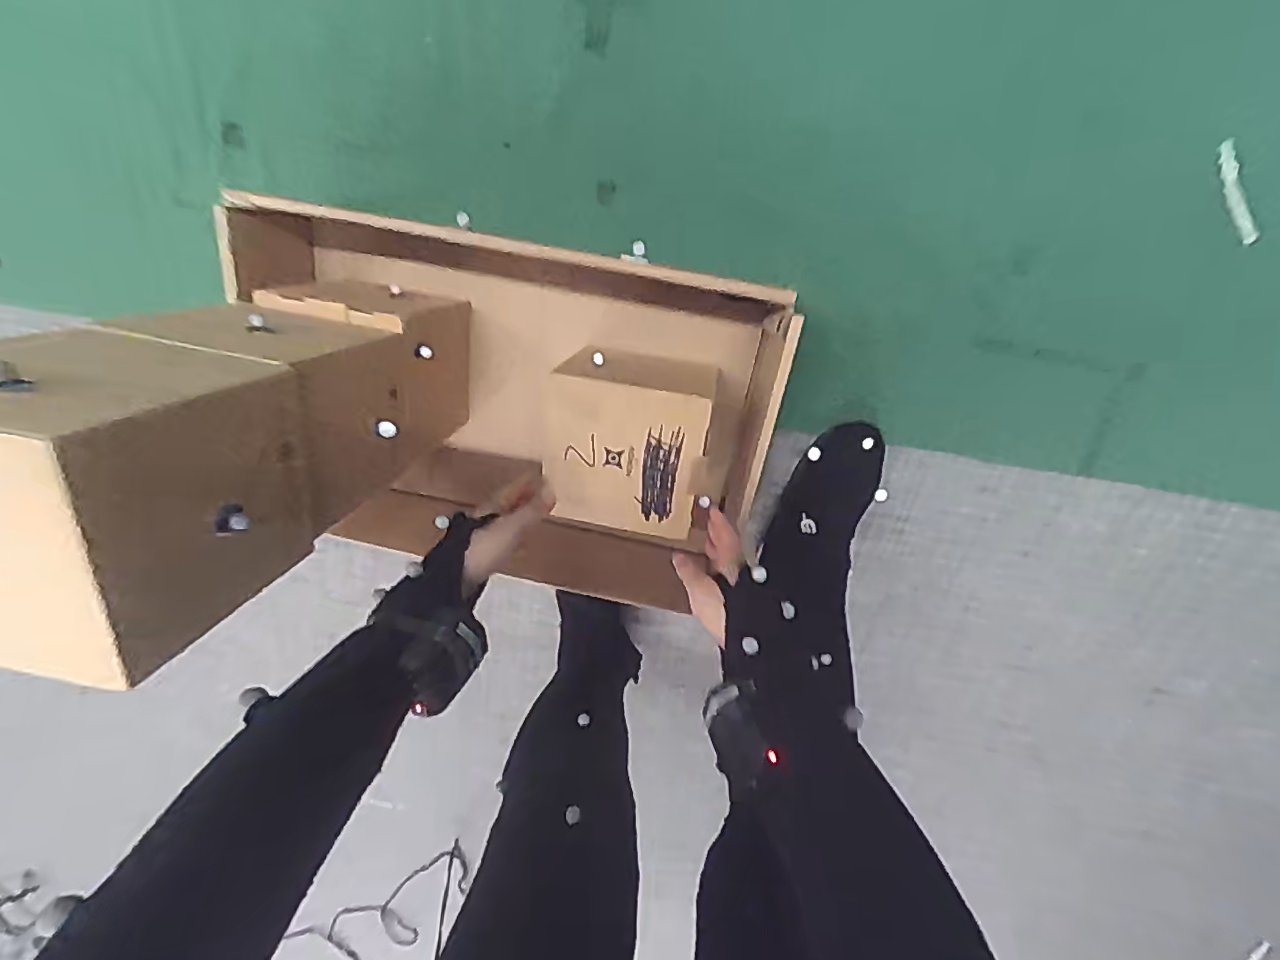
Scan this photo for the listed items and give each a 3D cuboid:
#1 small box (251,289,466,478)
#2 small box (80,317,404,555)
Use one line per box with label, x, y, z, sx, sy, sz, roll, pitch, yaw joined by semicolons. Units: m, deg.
small box;-0.326;-0.126;0.665;0.168;0.176;0.179;10;115;3
small box;-0.353;-0.054;0.520;0.179;0.176;0.168;11;115;2
